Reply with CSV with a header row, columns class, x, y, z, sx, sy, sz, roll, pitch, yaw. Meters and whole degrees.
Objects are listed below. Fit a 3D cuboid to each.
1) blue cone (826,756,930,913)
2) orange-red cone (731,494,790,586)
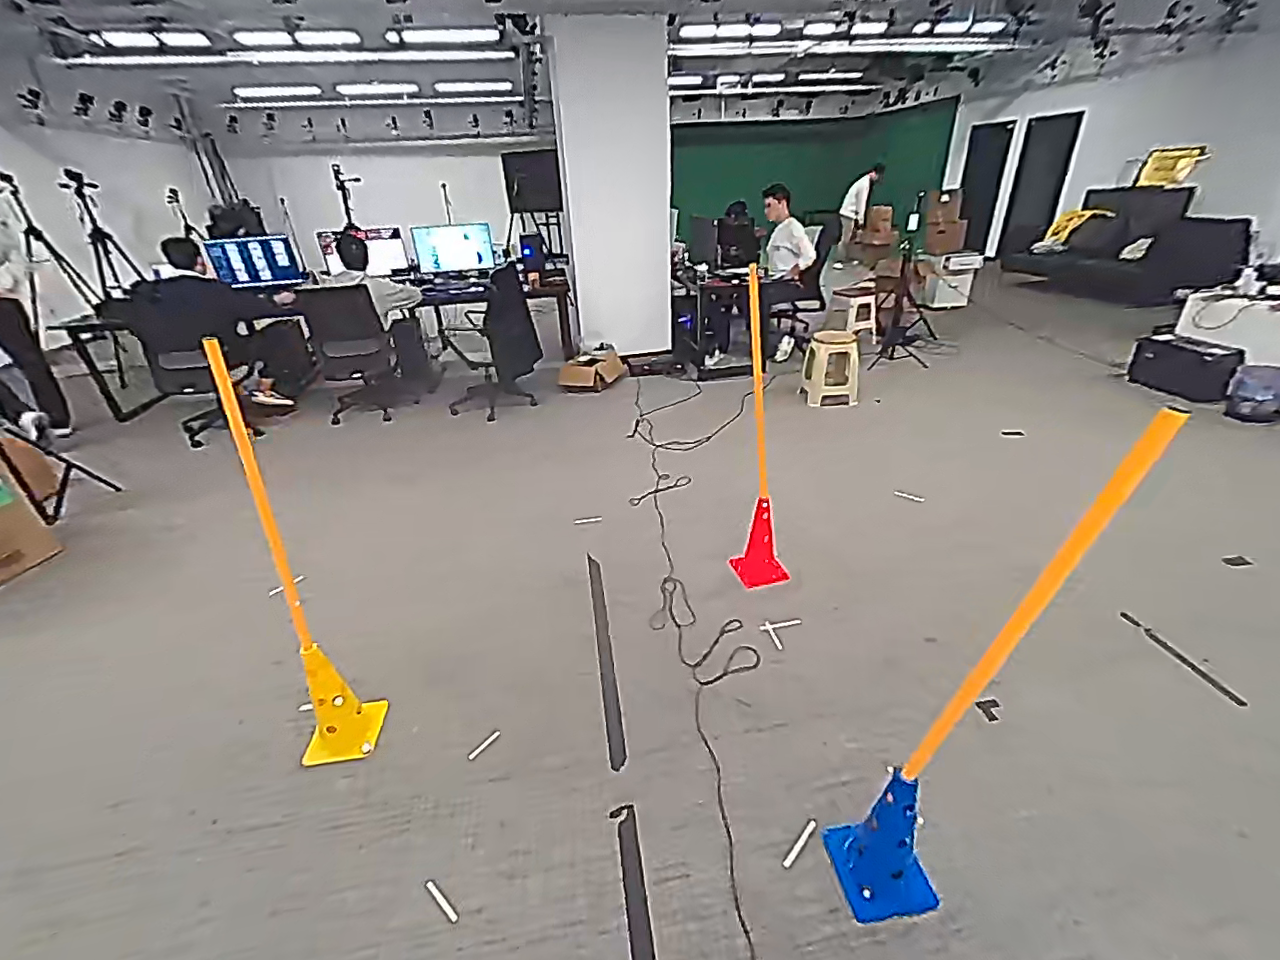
class,x,y,z,sx,sy,sz,roll,pitch,yaw
blue cone,0.548,0.755,1.192,0.193,0.380,0.192,-5,28,-4
orange-red cone,0.488,0.217,2.163,0.199,0.360,0.198,-11,29,-10
